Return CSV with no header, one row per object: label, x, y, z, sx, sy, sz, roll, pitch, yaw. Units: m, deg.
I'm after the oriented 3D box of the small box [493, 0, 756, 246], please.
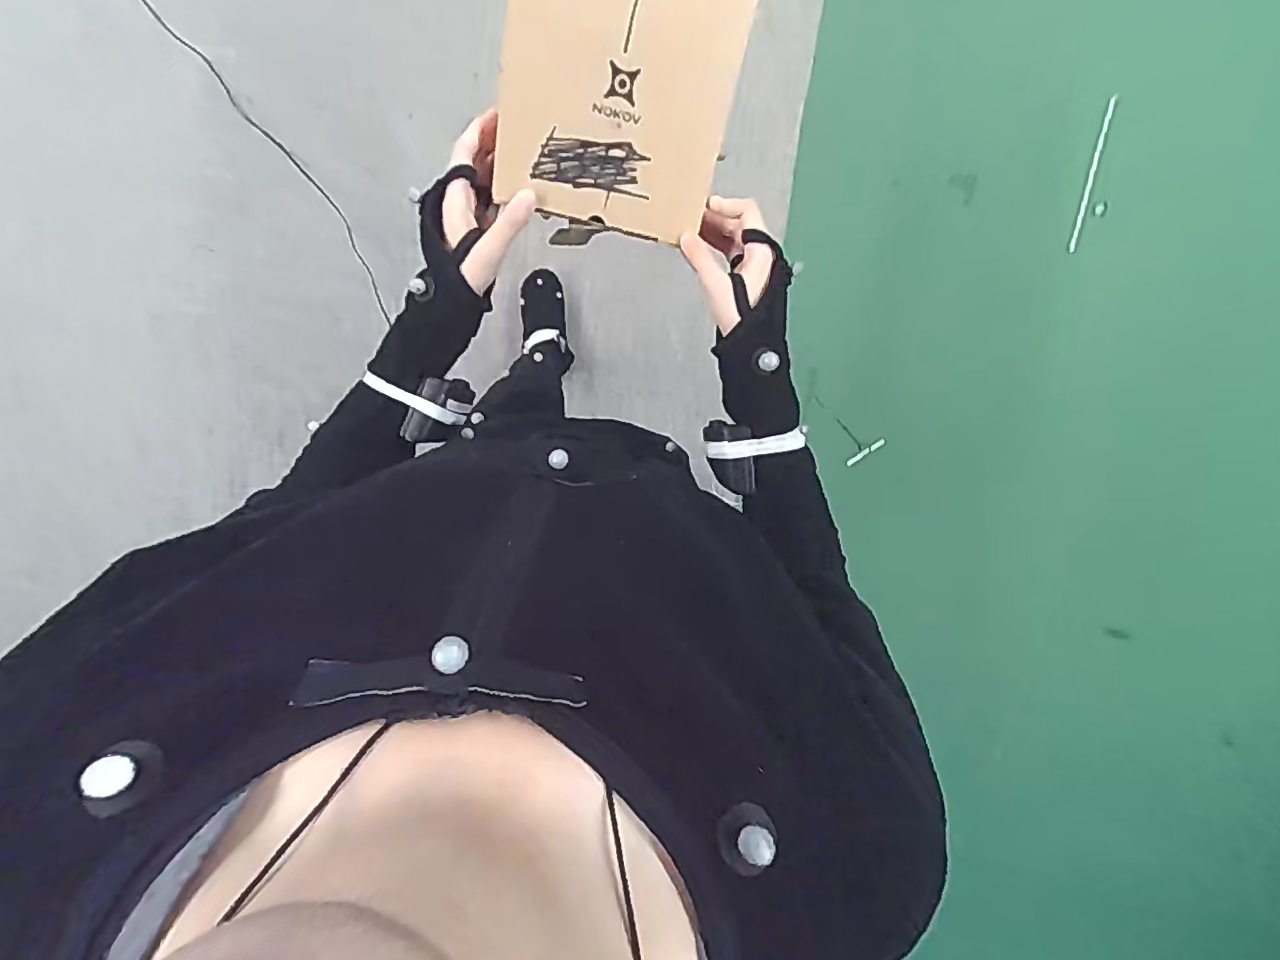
small box,-0.020,-0.317,0.460,0.168,0.176,0.179,9,118,-9
